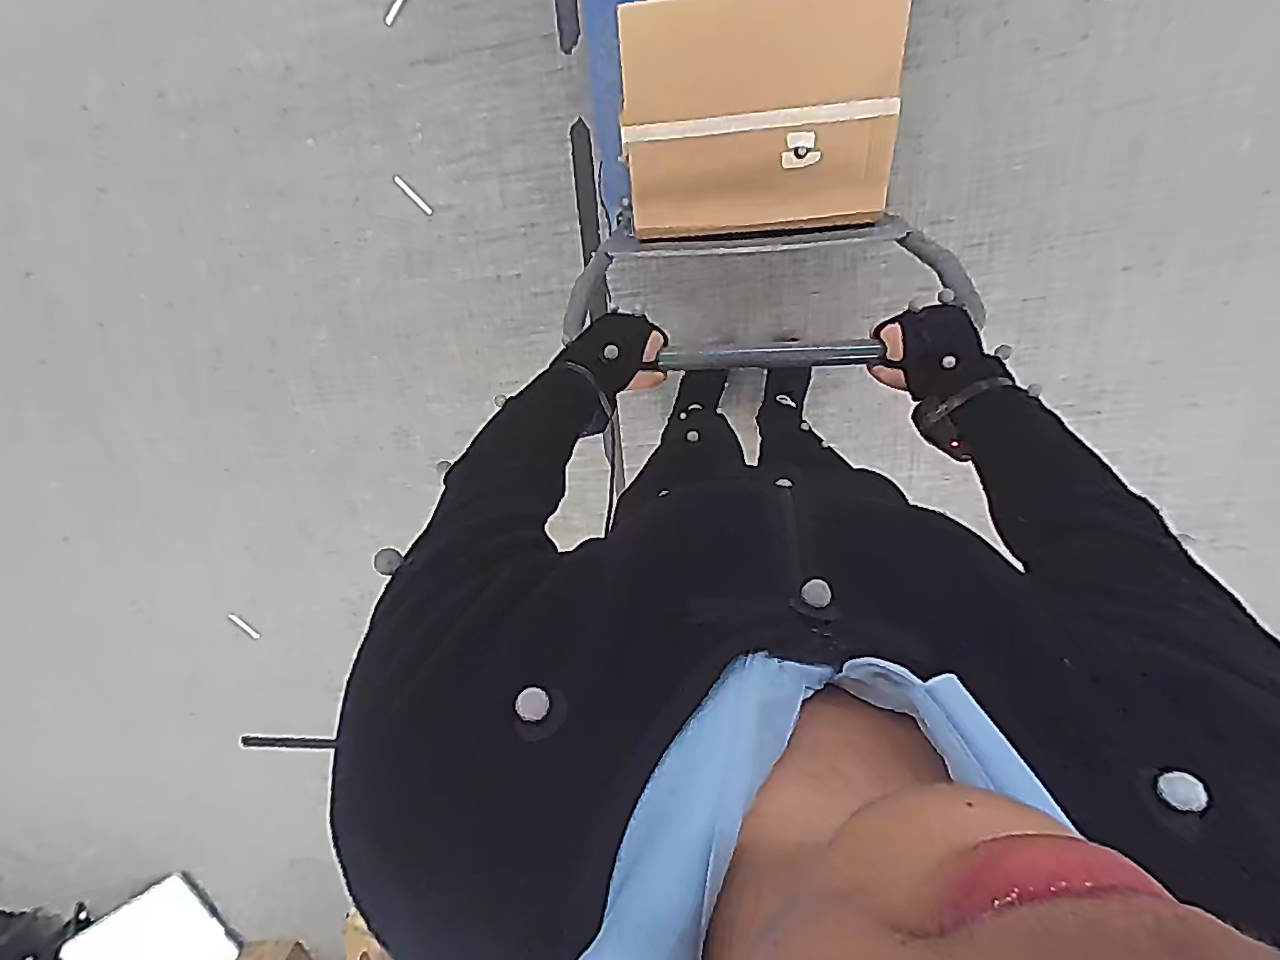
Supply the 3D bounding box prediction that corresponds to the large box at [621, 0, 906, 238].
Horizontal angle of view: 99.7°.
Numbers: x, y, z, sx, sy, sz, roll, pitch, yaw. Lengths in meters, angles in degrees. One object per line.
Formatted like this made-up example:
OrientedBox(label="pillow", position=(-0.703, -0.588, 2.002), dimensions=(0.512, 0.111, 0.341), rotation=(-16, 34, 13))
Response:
OrientedBox(label="large box", position=(0.197, -0.634, 0.960), dimensions=(0.408, 0.320, 0.320), rotation=(-1, 121, 8))
